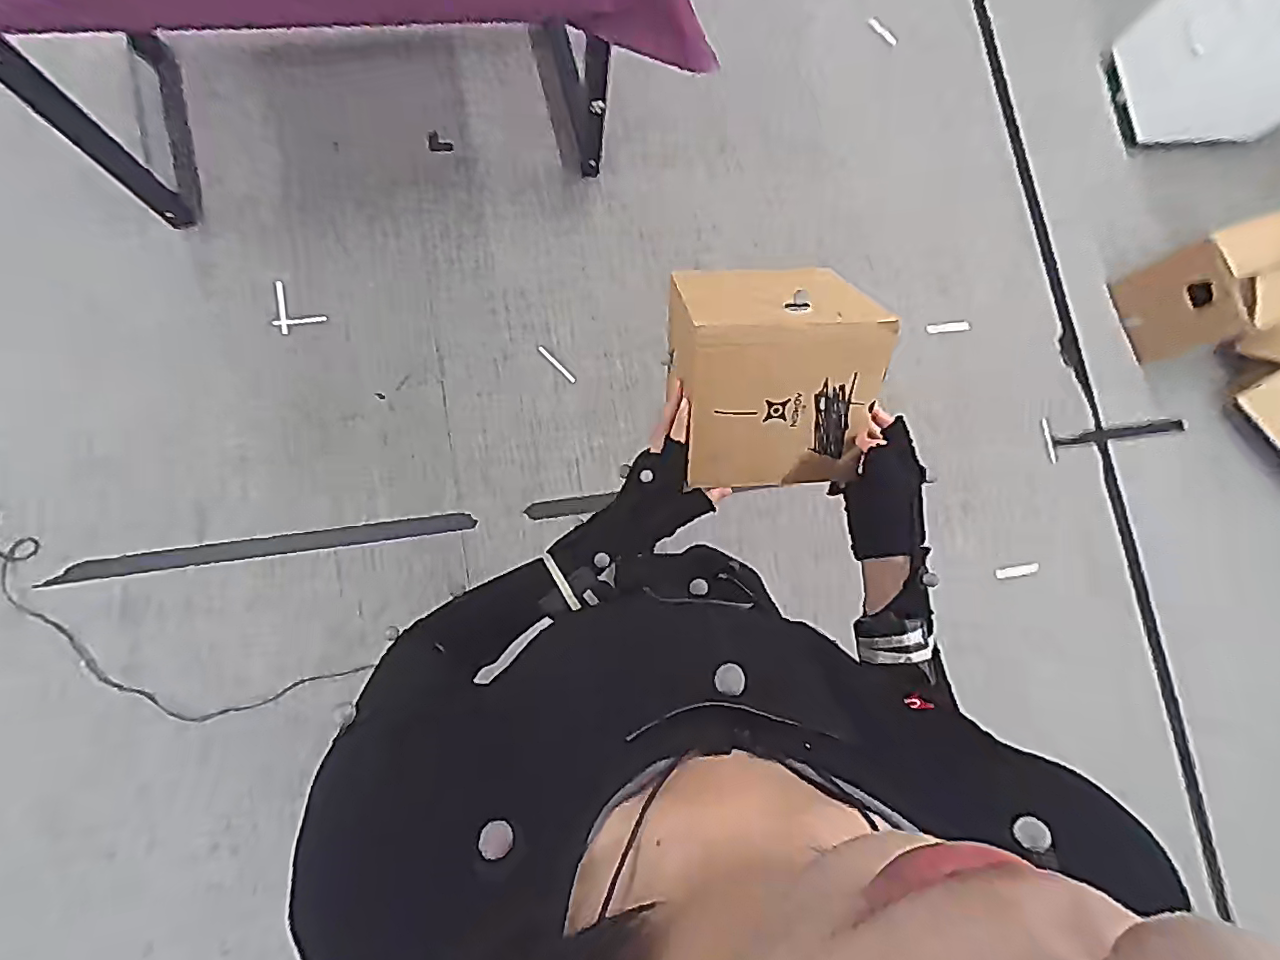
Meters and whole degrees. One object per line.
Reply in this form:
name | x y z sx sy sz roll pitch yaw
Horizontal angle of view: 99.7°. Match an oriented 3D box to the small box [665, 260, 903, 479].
small box | 0.124 -0.118 0.548 0.179 0.176 0.168 -3 125 -4
